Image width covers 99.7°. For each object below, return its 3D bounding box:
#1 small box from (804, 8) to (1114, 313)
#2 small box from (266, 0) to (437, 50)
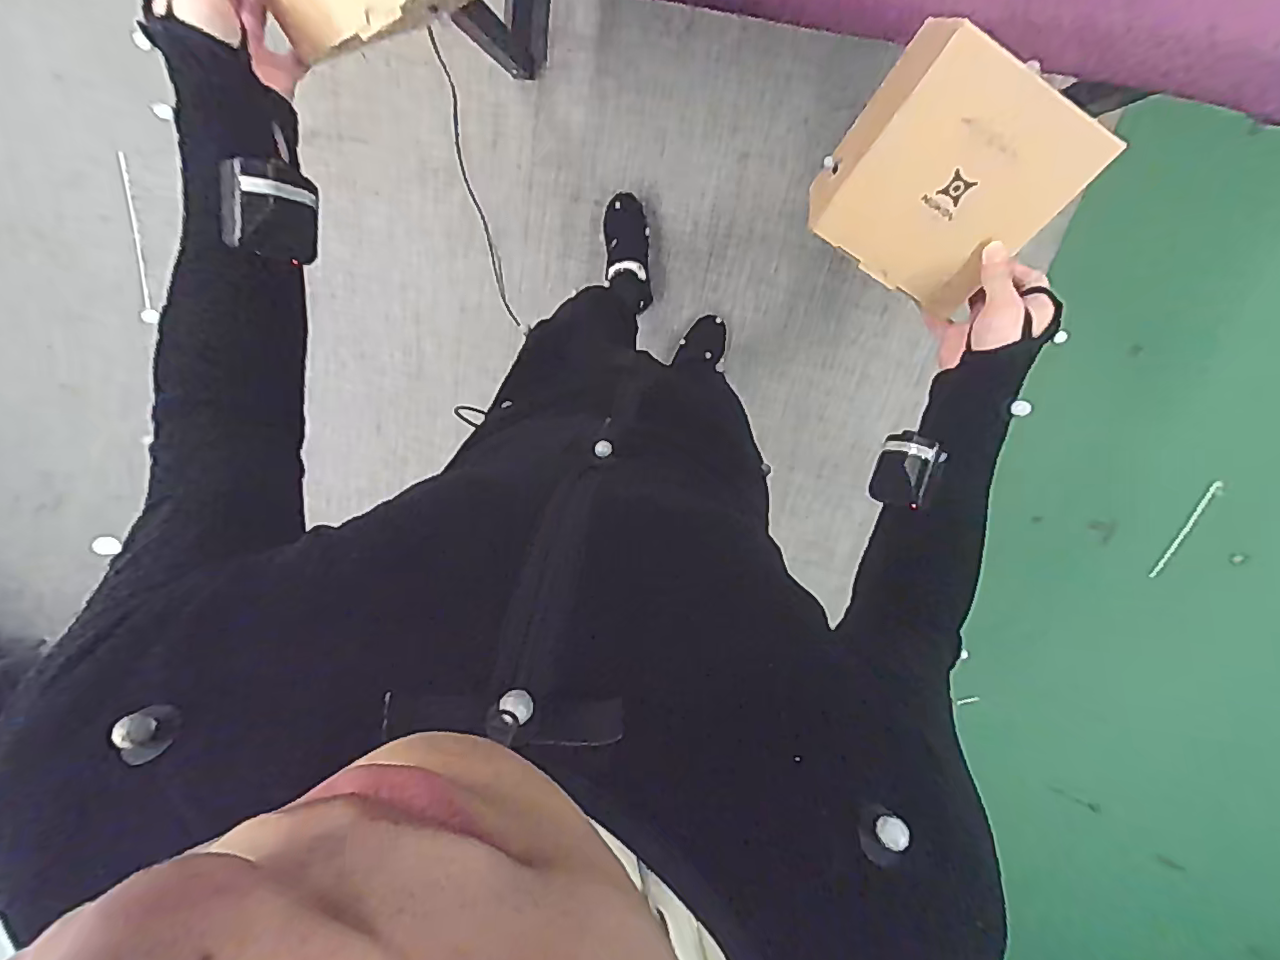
[{"bbox_3d":[0.282,-0.304,0.521,0.168,0.176,0.179,30,132,-8],"label":"small box"},{"bbox_3d":[-0.208,-0.464,0.395,0.168,0.176,0.179,-5,135,25],"label":"small box"}]
